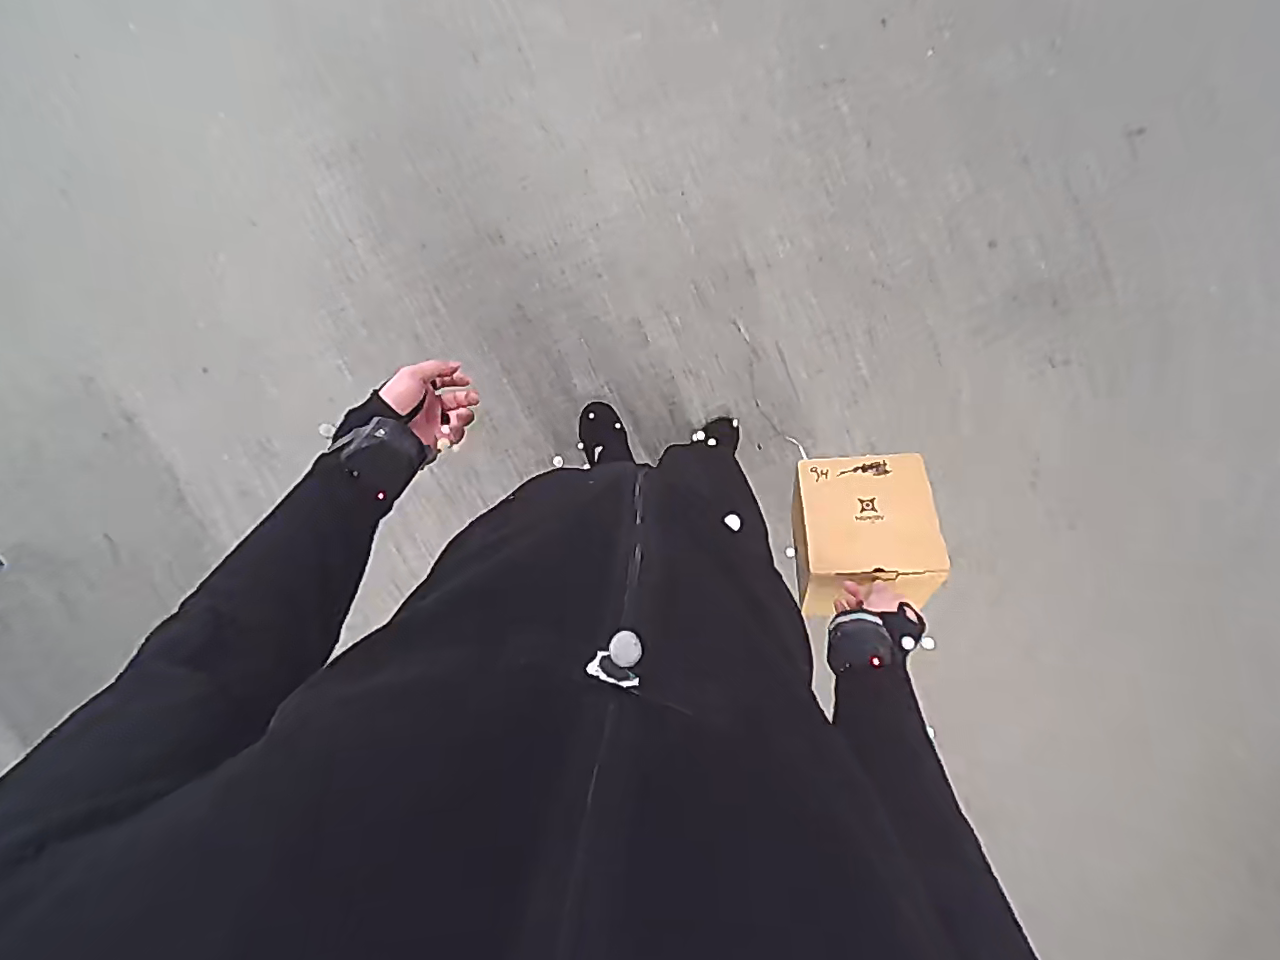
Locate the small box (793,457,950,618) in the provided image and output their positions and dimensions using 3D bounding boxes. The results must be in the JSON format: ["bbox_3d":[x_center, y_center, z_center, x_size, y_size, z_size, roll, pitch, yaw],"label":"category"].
[{"bbox_3d":[0.317,0.092,0.778,0.168,0.179,0.176,-7,146,11],"label":"small box"}]
